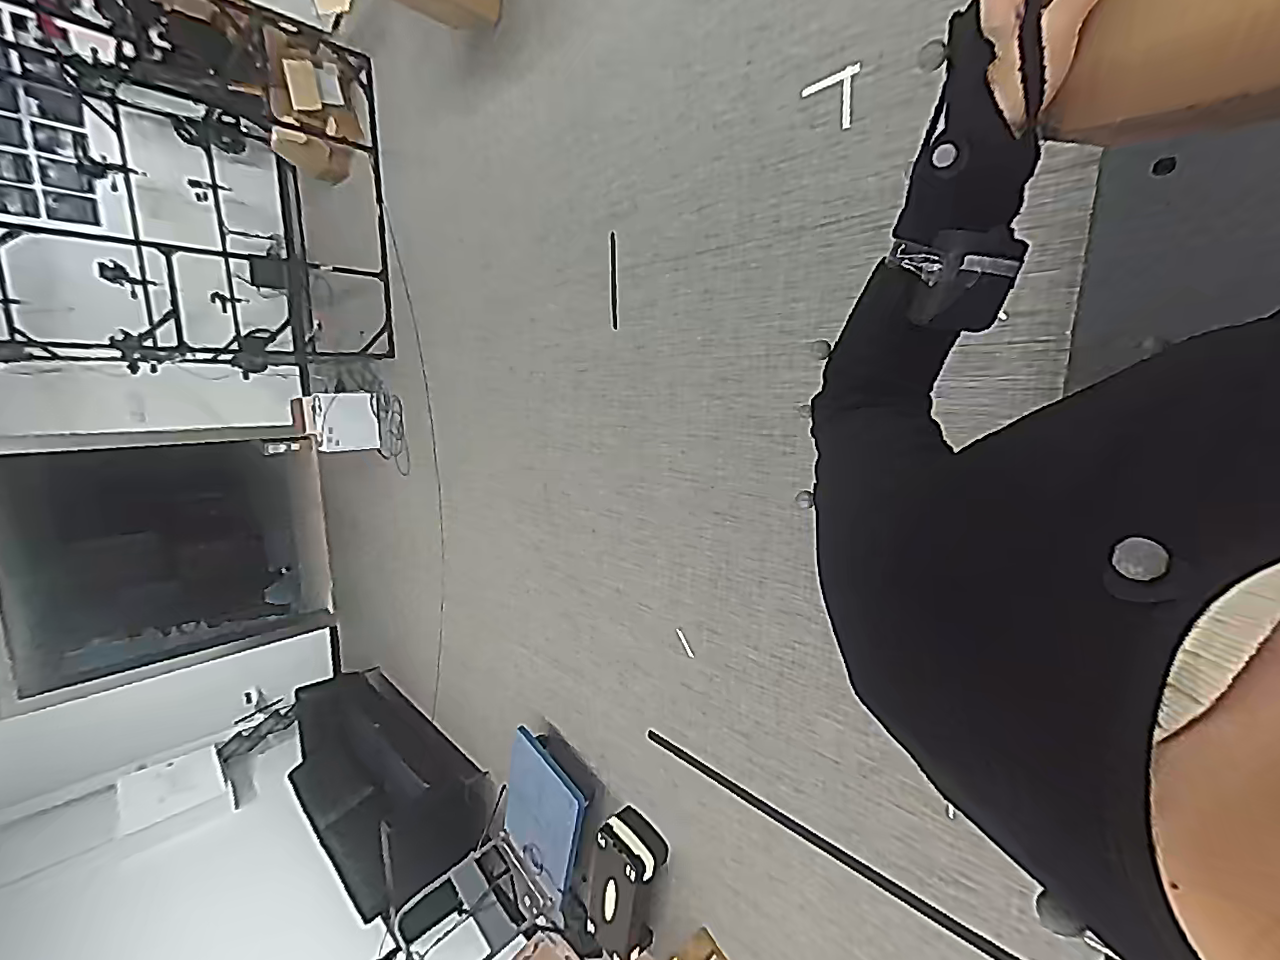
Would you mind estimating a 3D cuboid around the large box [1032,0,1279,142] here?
[{"bbox_3d":[0.463,-0.379,0.240,0.408,0.320,0.320,14,122,43],"label":"large box"}]
